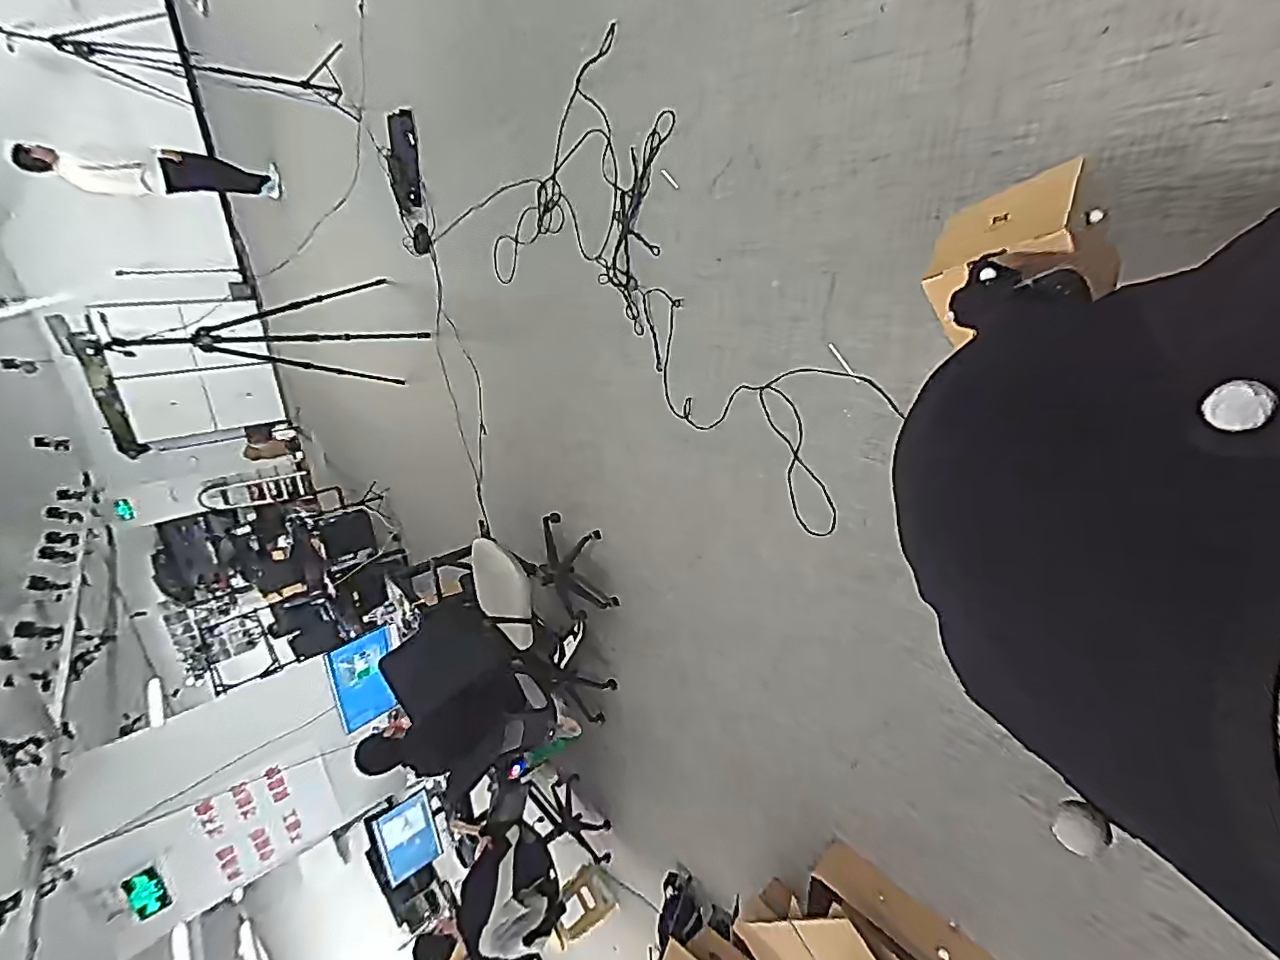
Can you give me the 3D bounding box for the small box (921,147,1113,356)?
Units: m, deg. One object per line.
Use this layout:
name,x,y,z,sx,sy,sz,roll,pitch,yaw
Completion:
small box,0.525,-0.304,0.749,0.176,0.179,0.168,45,151,-24
